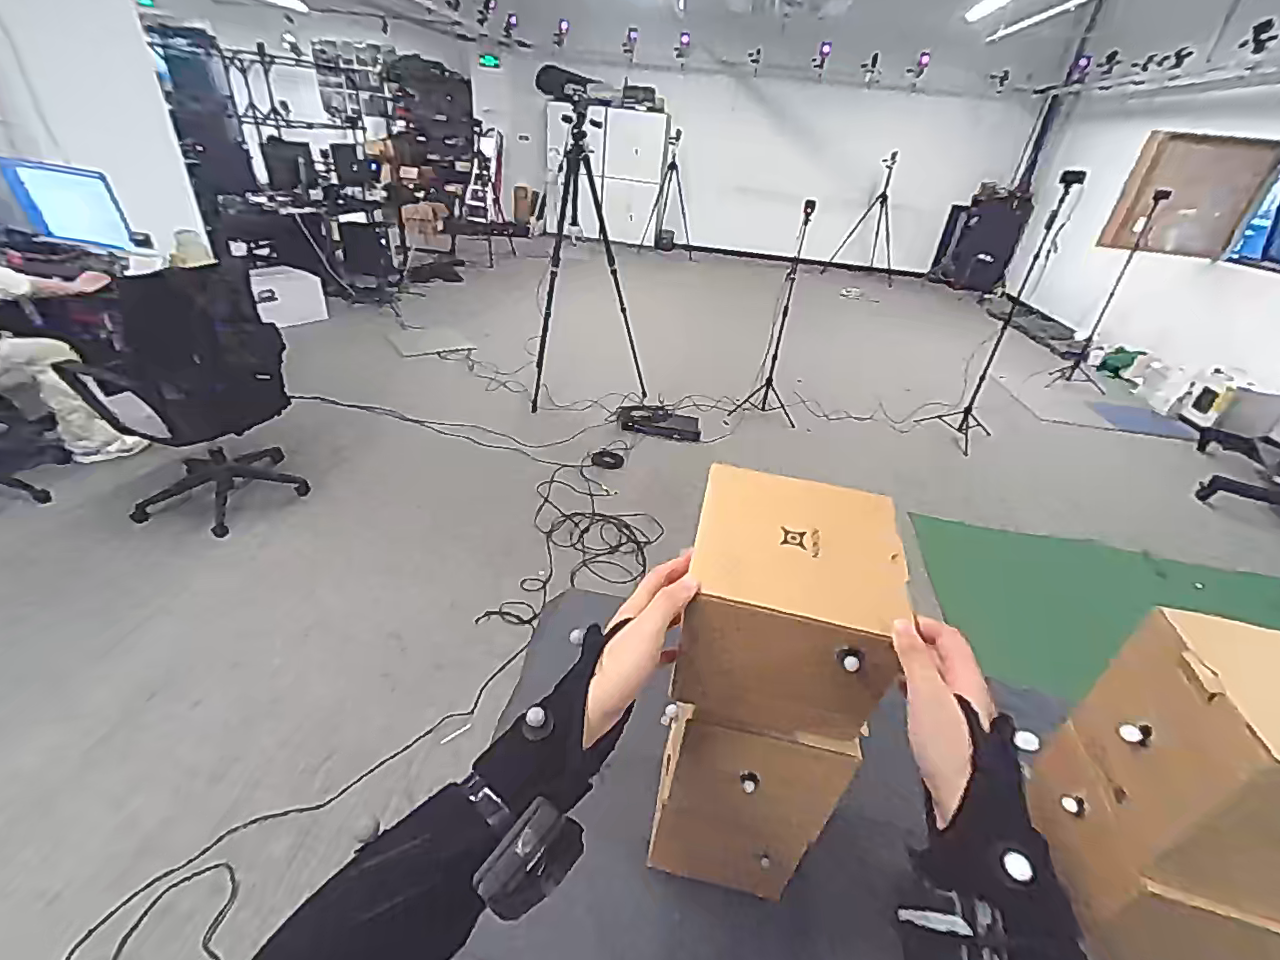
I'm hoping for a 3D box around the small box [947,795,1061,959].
[{"bbox_3d":[0.496,0.516,0.631,0.179,0.176,0.168,12,31,10],"label":"small box"}]

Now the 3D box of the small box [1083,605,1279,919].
[{"bbox_3d":[0.524,0.241,0.458,0.179,0.176,0.168,13,32,14],"label":"small box"}]

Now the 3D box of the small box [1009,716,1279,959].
[{"bbox_3d":[0.508,0.381,0.541,0.168,0.176,0.179,11,33,12],"label":"small box"}]

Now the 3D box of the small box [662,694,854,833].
[{"bbox_3d":[0.131,0.281,0.639,0.179,0.176,0.168,10,32,6],"label":"small box"}]

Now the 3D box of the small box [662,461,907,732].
[{"bbox_3d":[0.122,0.108,0.507,0.179,0.176,0.168,11,42,8],"label":"small box"}]
